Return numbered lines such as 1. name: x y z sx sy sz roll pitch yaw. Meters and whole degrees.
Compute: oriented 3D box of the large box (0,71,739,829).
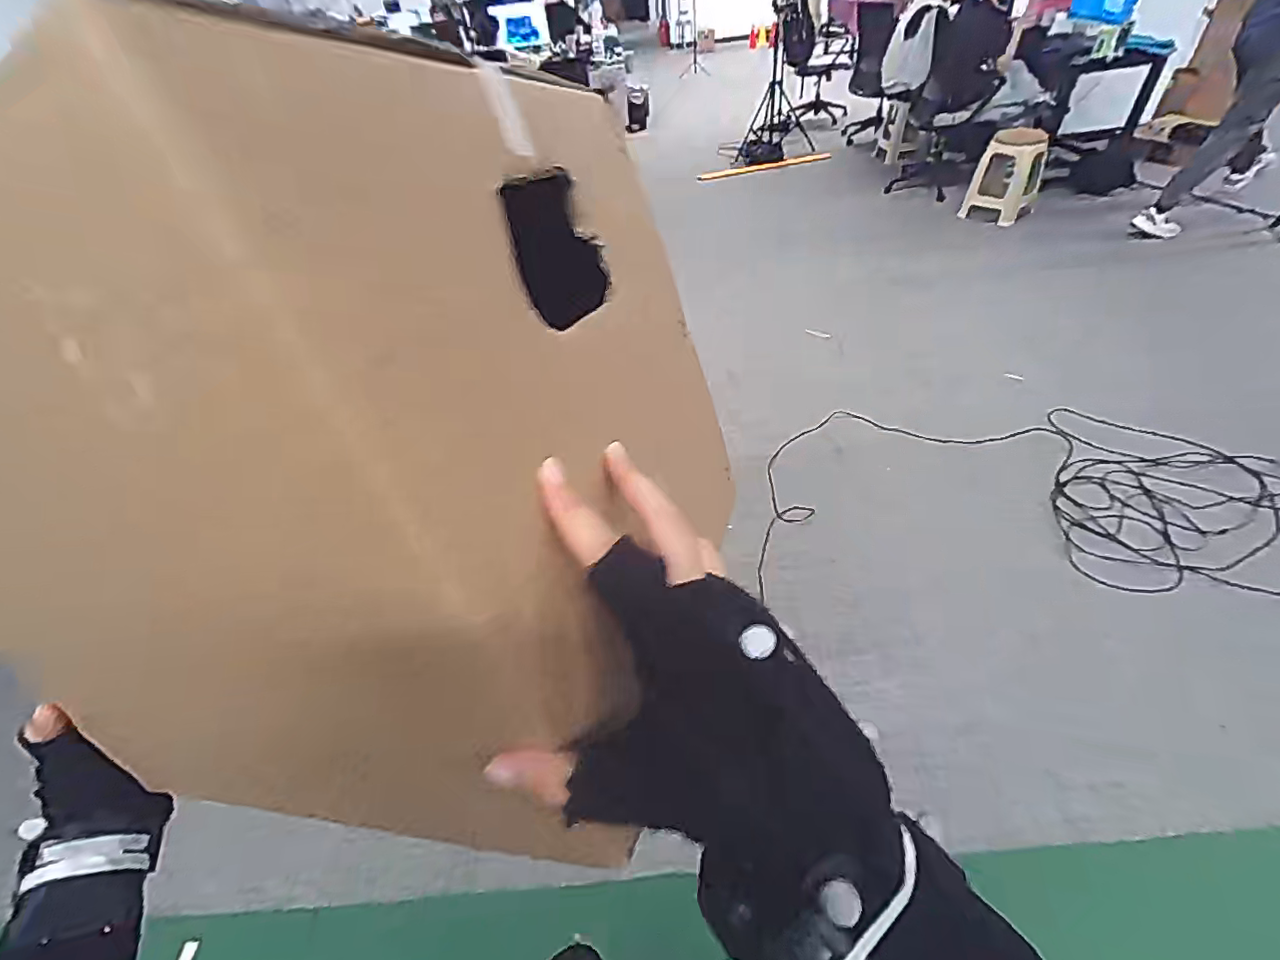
1. large box: -0.180 -0.010 0.387 0.408 0.320 0.320 -9 28 25
